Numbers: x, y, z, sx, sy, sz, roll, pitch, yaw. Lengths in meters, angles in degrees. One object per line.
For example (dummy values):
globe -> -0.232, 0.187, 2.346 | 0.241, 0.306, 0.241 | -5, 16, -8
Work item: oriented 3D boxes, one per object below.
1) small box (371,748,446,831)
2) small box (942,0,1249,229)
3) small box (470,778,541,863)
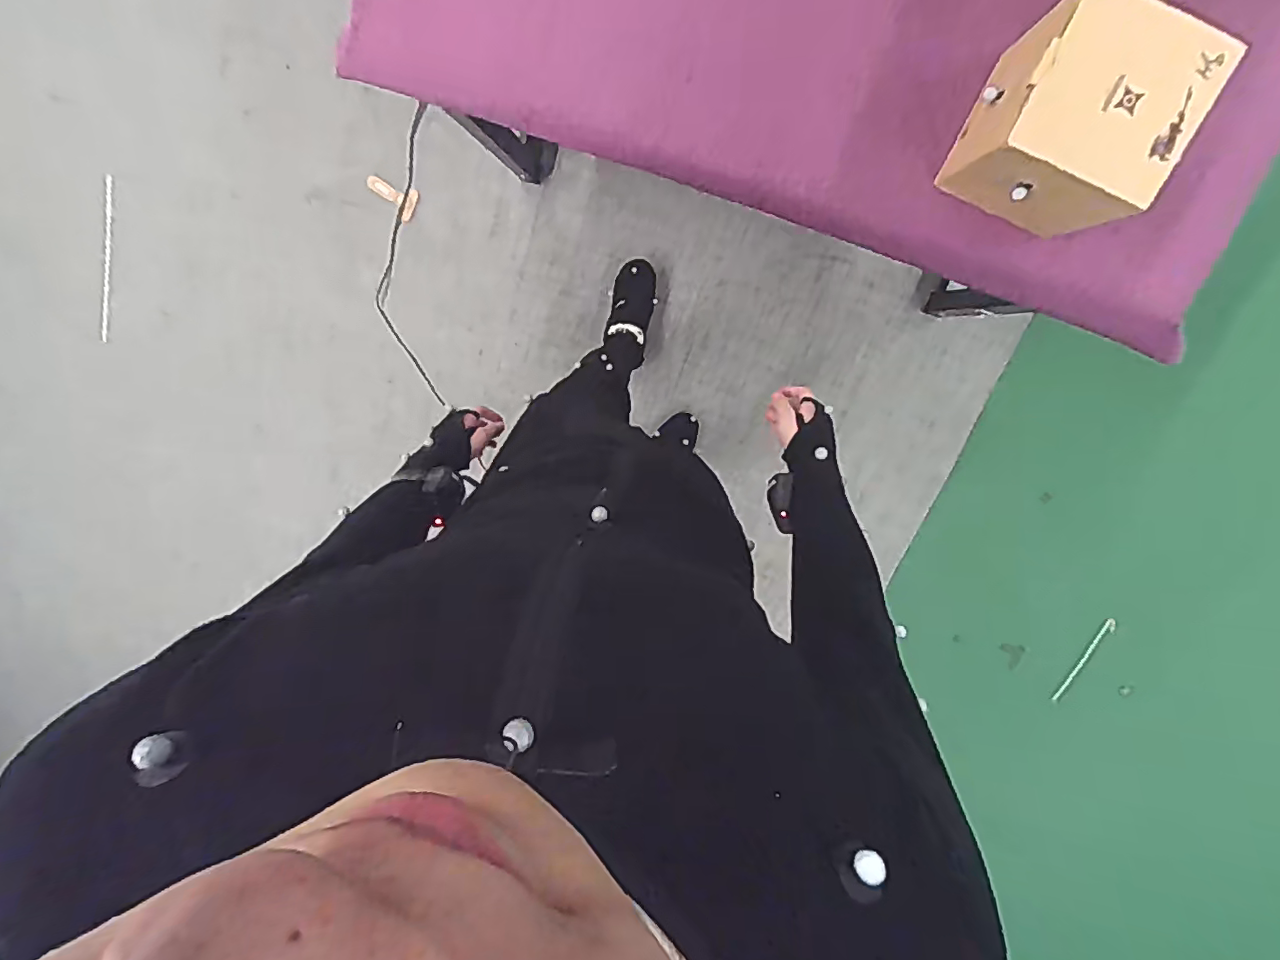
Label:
small box -> -0.811, 1.084, 1.906 | 0.179, 0.176, 0.168 | 19, 106, -1
small box -> 0.497, -0.415, 0.628 | 0.179, 0.176, 0.168 | 24, 105, -2
small box -> -0.472, 1.196, 1.913 | 0.179, 0.176, 0.168 | 19, 107, -2
